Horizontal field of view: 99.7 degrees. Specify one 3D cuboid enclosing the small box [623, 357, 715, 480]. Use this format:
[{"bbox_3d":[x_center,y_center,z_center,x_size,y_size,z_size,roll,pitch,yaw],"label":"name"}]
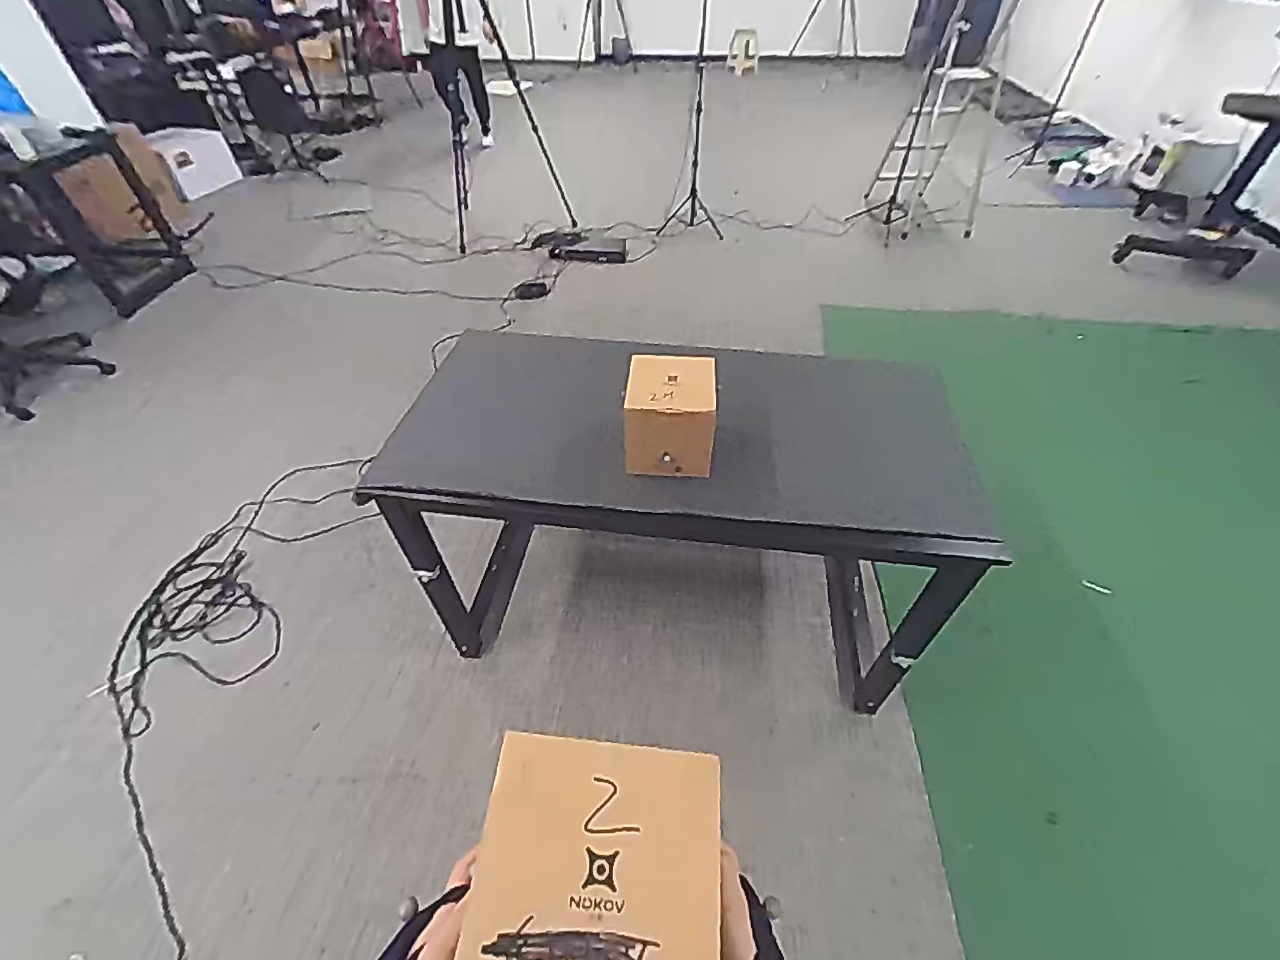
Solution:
[{"bbox_3d":[0.057,-0.123,1.069,0.168,0.176,0.179,3,45,3],"label":"small box"}]
